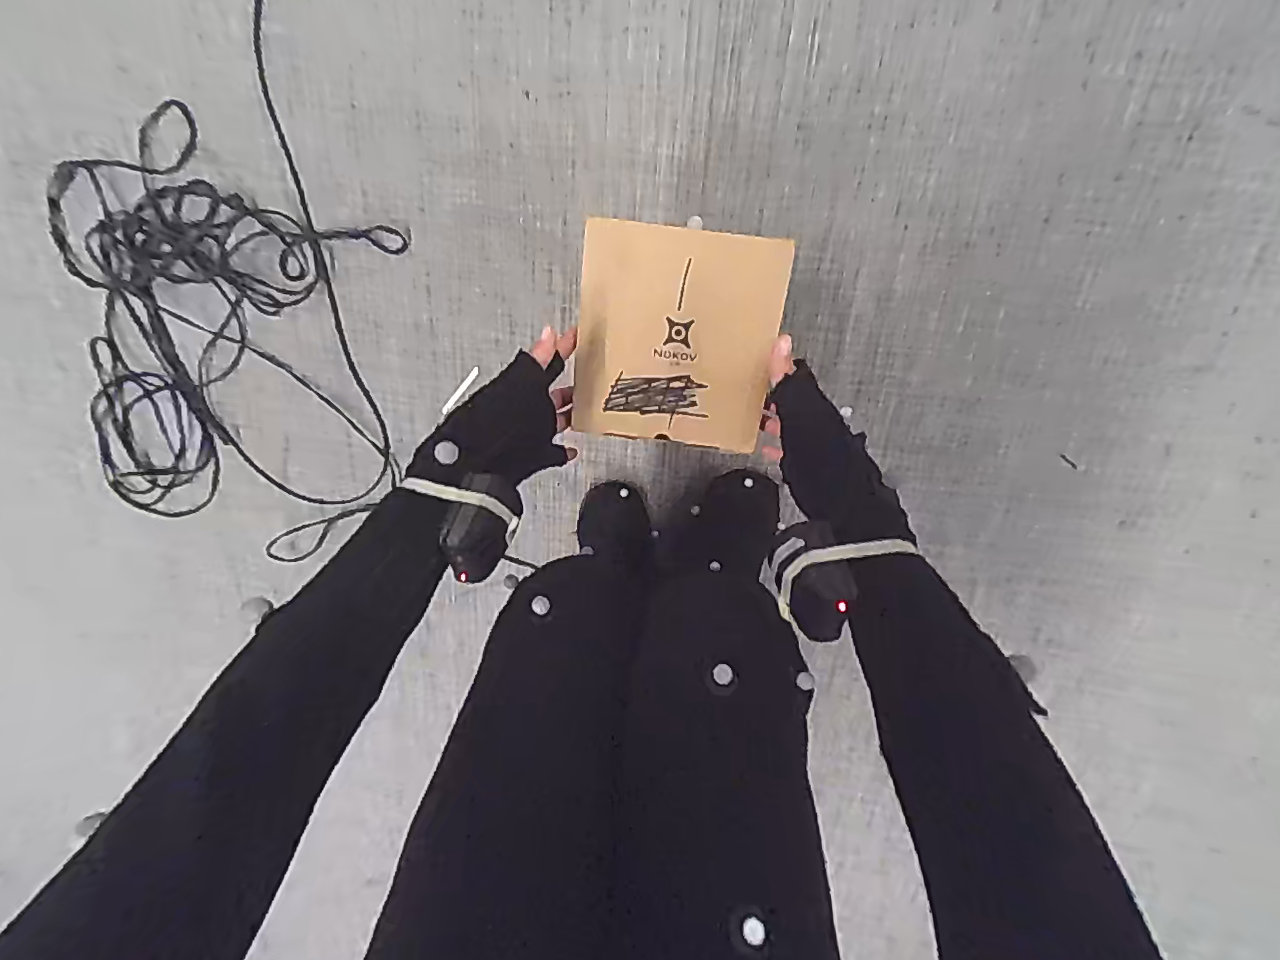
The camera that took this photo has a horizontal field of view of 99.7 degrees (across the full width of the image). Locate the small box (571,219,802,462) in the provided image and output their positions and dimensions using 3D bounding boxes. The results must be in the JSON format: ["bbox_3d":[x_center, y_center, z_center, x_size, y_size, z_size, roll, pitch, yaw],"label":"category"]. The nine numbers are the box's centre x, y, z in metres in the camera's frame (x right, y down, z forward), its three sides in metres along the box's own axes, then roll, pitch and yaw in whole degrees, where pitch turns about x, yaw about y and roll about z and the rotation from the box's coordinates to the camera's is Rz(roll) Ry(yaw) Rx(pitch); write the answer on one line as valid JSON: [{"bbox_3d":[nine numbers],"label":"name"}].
[{"bbox_3d":[0.036,-0.135,0.509,0.168,0.176,0.179,8,112,0],"label":"small box"}]
